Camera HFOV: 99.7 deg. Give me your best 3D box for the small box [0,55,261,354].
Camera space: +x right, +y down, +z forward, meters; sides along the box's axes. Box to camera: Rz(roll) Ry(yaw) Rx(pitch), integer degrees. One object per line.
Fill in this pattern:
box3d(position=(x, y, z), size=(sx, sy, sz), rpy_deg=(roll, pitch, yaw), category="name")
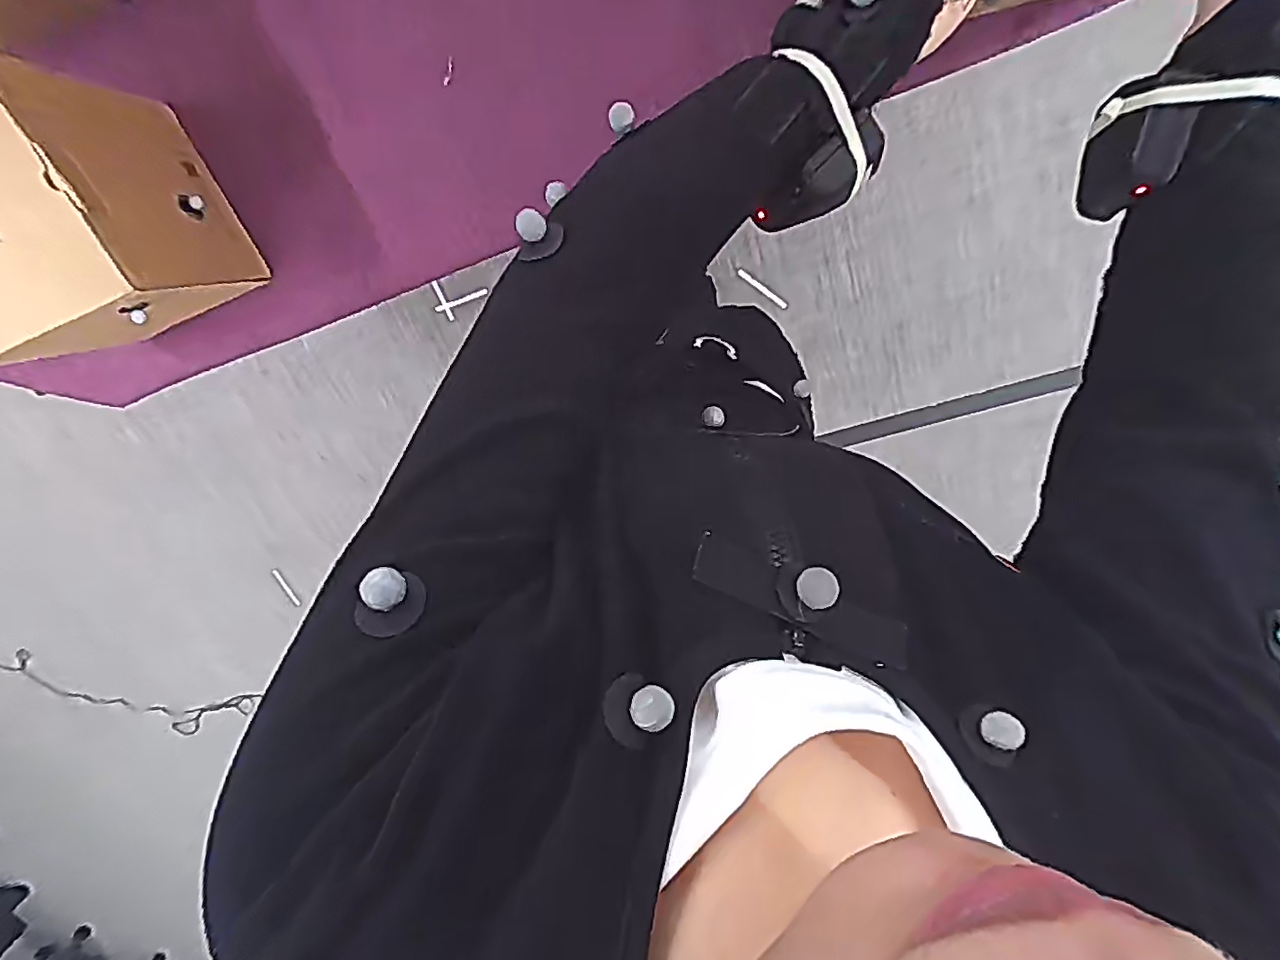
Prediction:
box3d(position=(-0.497, -0.224, 0.476), size=(0.179, 0.176, 0.168), rpy_deg=(-20, 112, 8), category="small box")
